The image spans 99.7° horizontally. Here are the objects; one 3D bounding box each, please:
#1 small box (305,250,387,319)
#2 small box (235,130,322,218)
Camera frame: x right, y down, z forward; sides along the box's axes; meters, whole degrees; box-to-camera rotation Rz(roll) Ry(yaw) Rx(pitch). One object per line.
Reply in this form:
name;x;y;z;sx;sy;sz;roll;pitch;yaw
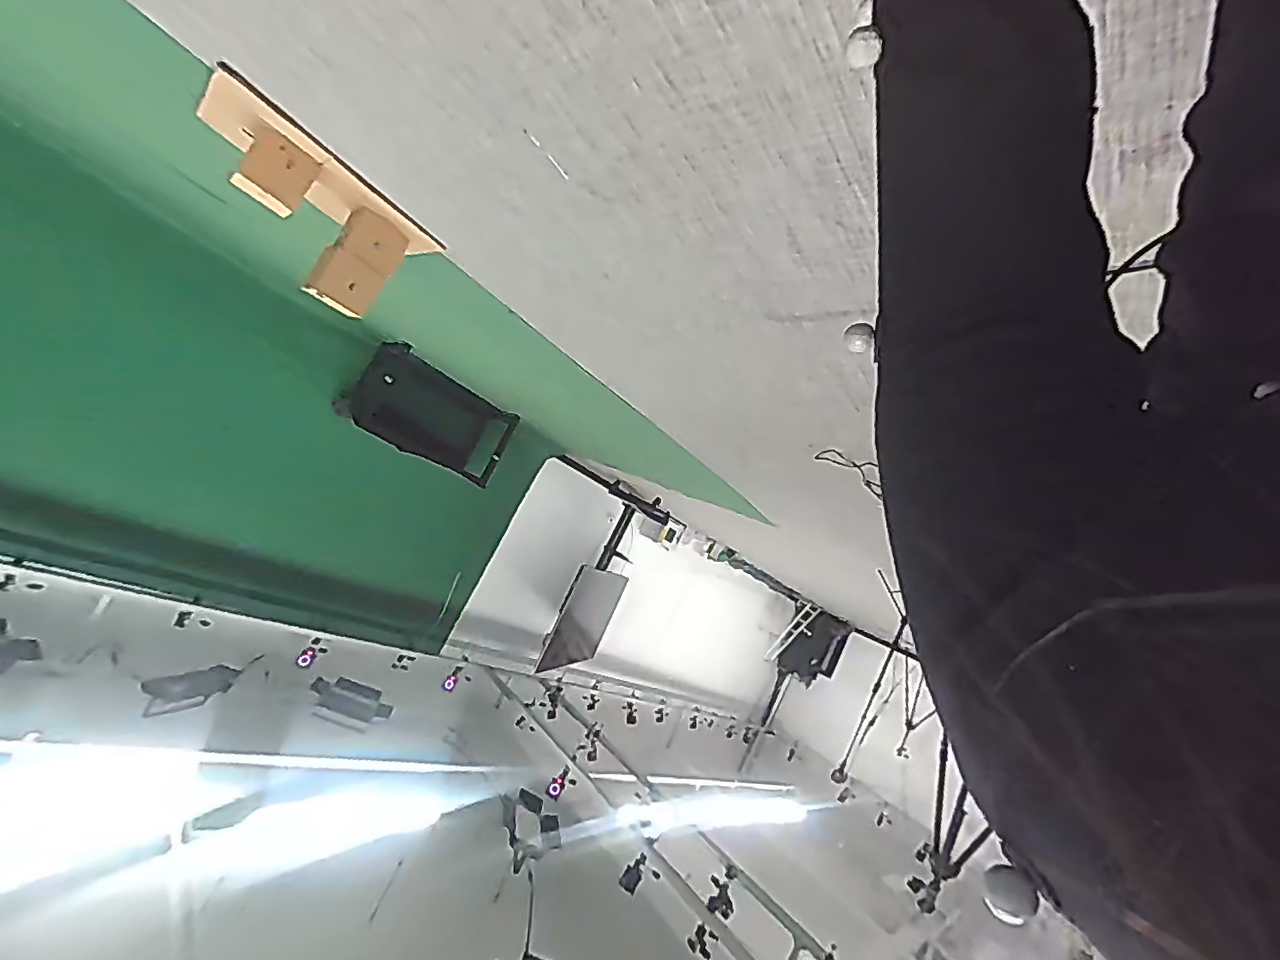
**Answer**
small box;-1.045;-0.699;1.926;0.168;0.176;0.179;21;173;42
small box;-1.151;-0.971;1.725;0.179;0.176;0.168;19;170;46
